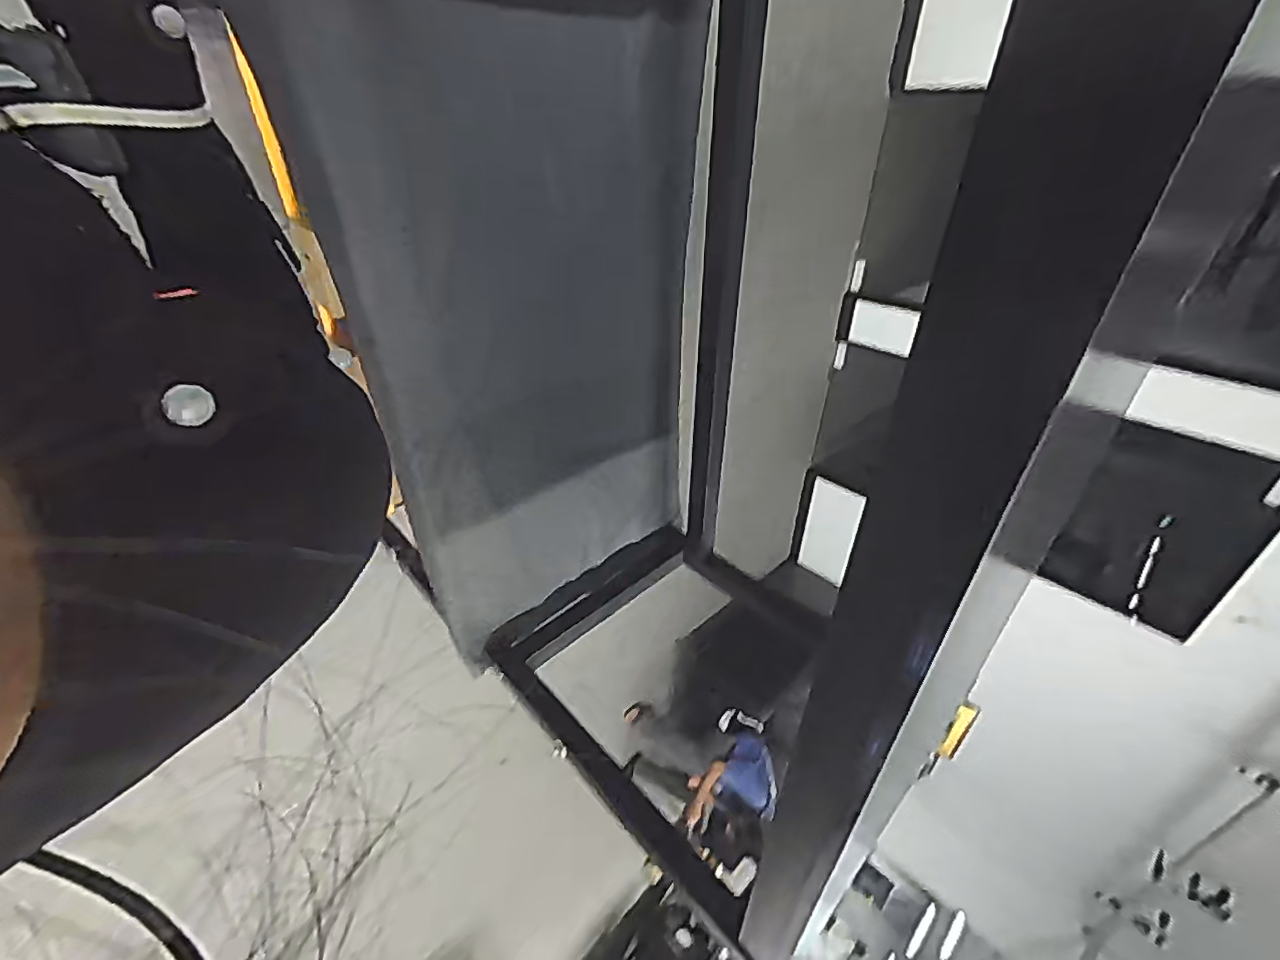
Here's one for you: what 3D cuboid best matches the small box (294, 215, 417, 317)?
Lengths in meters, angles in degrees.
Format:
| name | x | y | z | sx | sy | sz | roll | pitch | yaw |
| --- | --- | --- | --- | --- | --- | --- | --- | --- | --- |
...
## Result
| name | x | y | z | sx | sy | sz | roll | pitch | yaw |
| --- | --- | --- | --- | --- | --- | --- | --- | --- | --- |
| small box | -0.608 | -0.461 | 1.151 | 0.179 | 0.176 | 0.168 | -26 | 133 | -35 |

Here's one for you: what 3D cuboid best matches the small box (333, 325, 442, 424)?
| name | x | y | z | sx | sy | sz | roll | pitch | yaw |
| --- | --- | --- | --- | --- | --- | --- | --- | --- | --- |
| small box | -0.607 | -0.259 | 1.291 | 0.179 | 0.176 | 0.168 | -27 | 132 | -34 |
